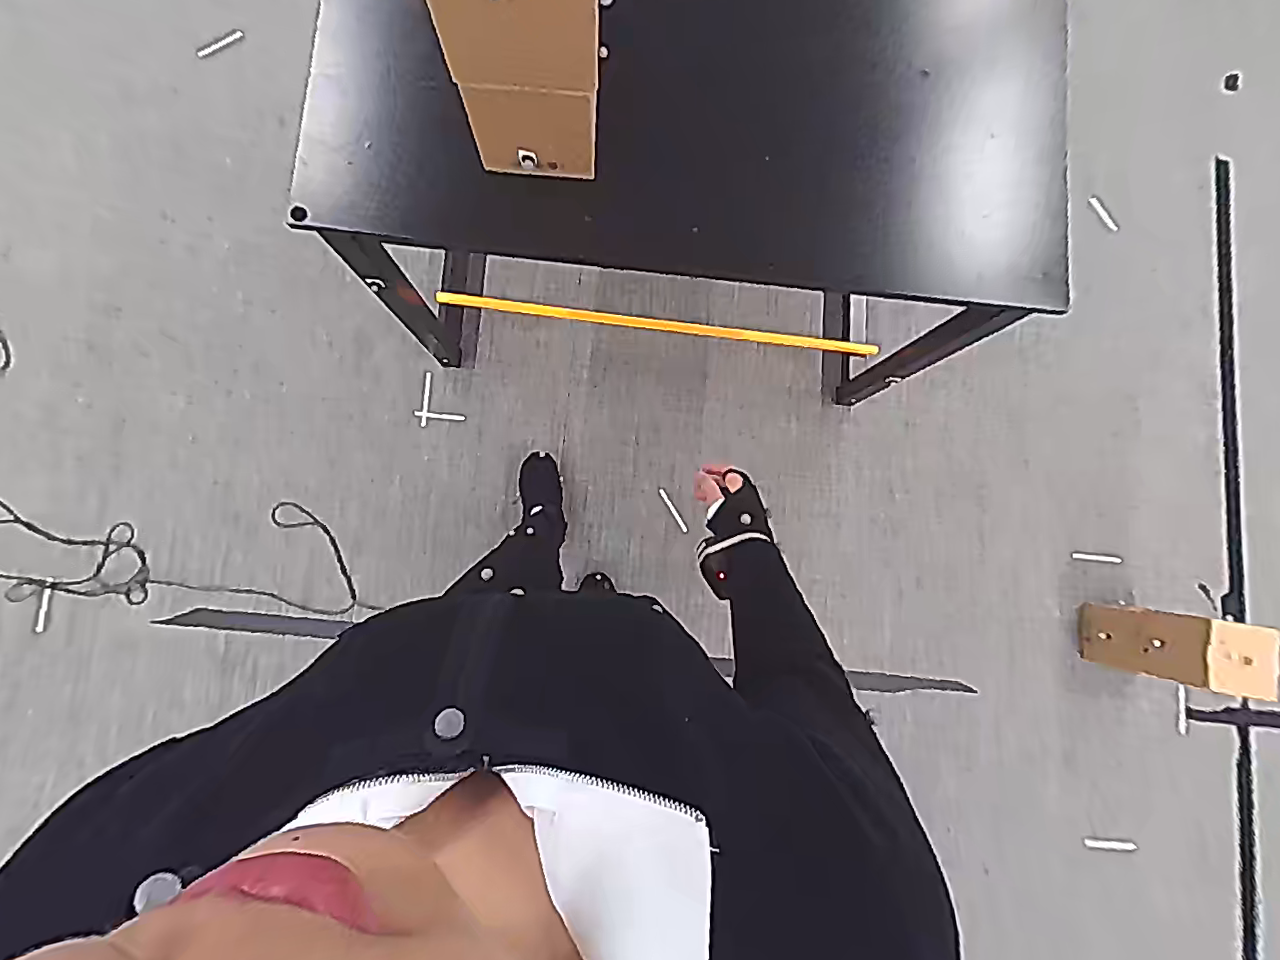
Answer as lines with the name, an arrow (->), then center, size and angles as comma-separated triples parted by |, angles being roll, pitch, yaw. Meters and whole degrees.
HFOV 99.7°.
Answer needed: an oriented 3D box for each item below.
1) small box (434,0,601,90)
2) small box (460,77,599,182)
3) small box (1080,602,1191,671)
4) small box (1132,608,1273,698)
small box -> -0.132, -0.566, 0.588 | 0.179, 0.176, 0.168 | 1, 84, -4
small box -> -0.142, -0.553, 0.752 | 0.168, 0.176, 0.179 | 1, 85, -3
small box -> 1.373, 0.435, 1.506 | 0.179, 0.176, 0.168 | 5, 84, -3
small box -> 1.389, 0.421, 1.342 | 0.179, 0.176, 0.168 | 10, 83, -3
